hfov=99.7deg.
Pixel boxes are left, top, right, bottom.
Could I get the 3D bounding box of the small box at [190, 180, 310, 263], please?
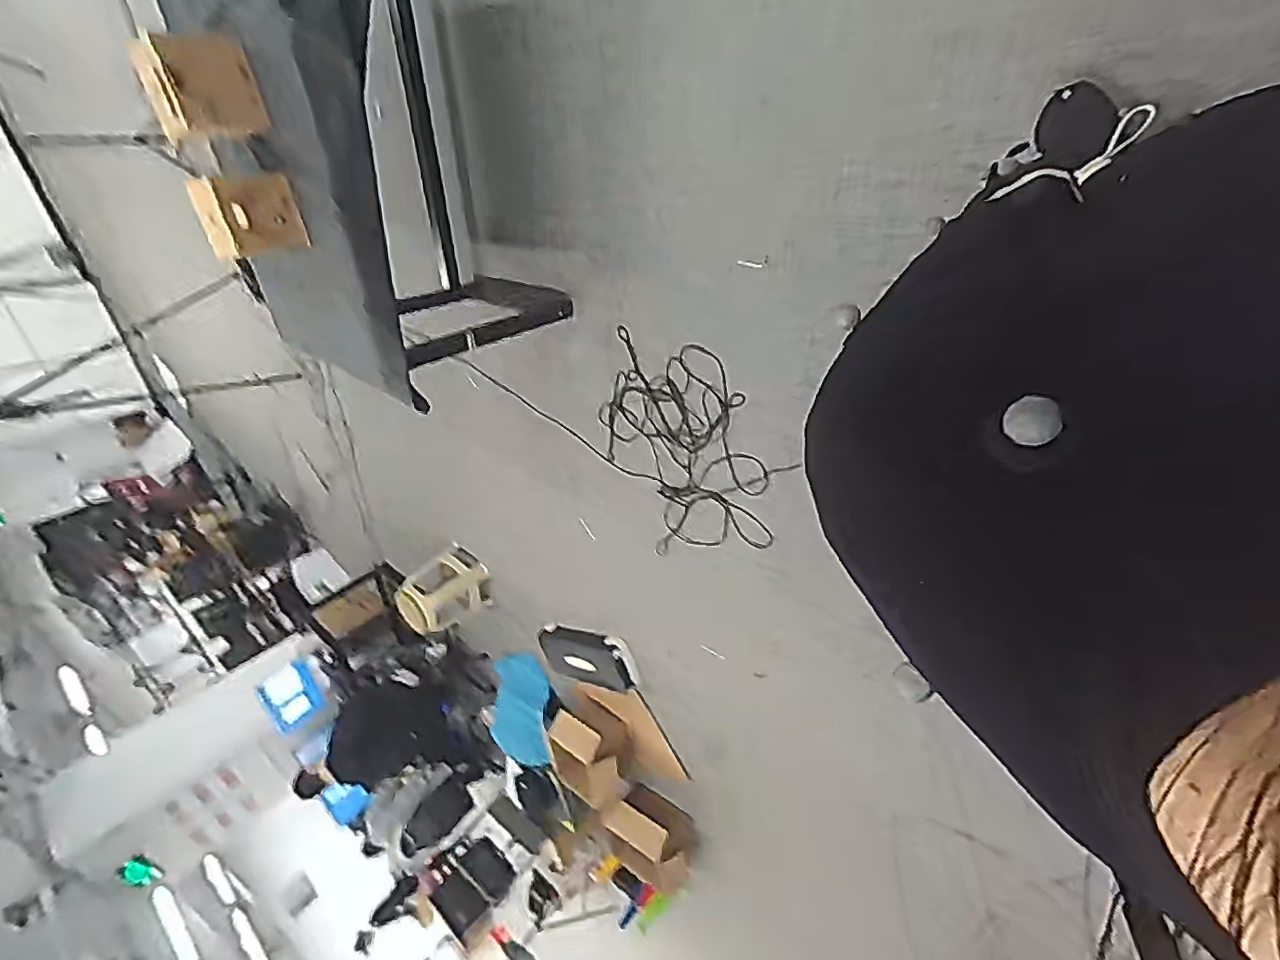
[{"bbox_3d":[-0.950,-0.633,1.326,0.179,0.176,0.168,15,124,37],"label":"small box"}]
